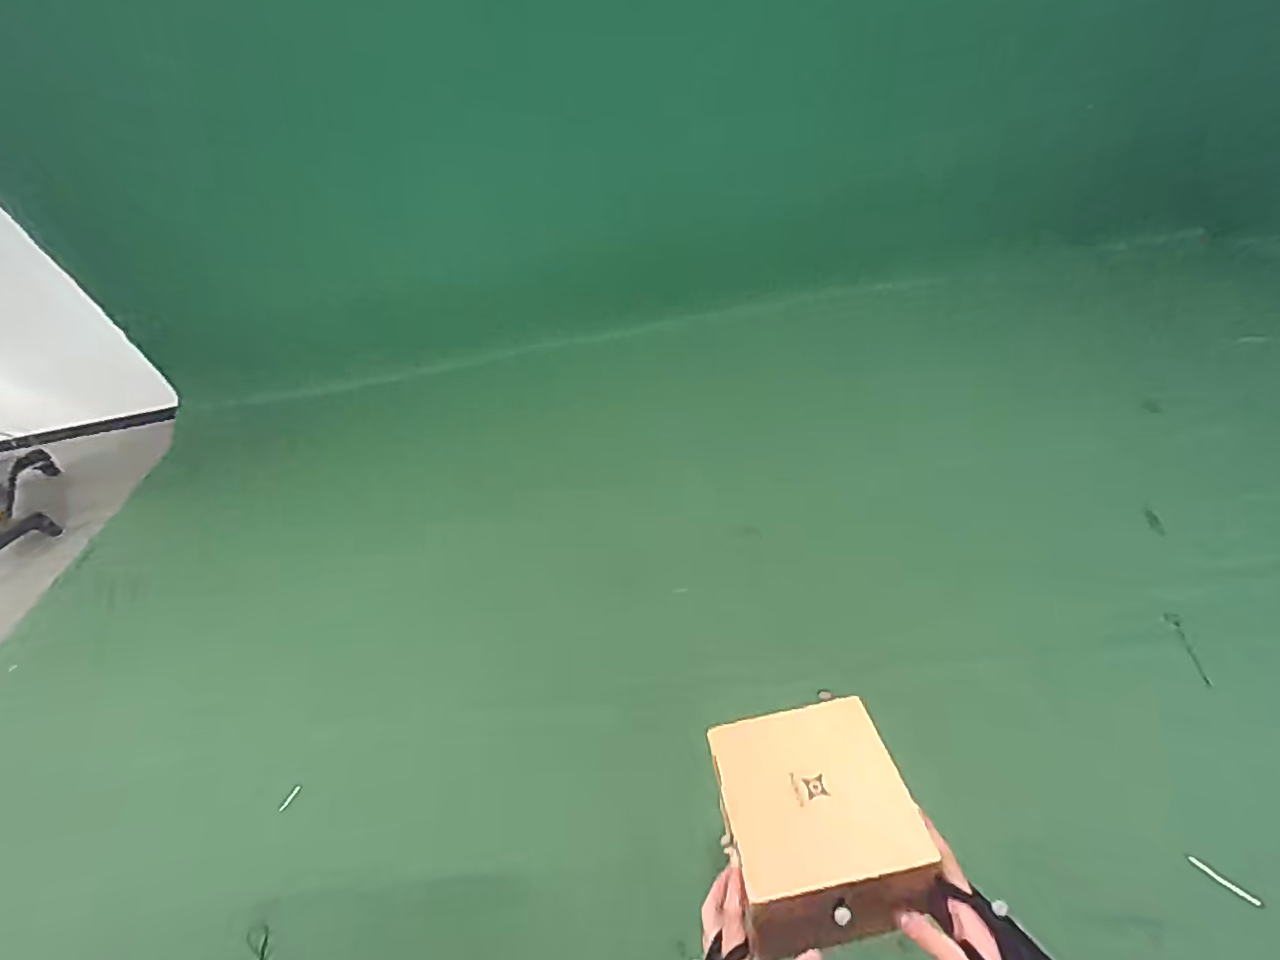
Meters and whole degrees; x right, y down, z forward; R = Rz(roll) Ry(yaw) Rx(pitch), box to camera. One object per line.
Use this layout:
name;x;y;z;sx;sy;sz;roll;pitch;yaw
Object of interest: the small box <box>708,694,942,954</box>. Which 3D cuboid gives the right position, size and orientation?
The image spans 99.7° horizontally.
small box;0.182;0.363;0.575;0.179;0.176;0.168;-14;35;1
